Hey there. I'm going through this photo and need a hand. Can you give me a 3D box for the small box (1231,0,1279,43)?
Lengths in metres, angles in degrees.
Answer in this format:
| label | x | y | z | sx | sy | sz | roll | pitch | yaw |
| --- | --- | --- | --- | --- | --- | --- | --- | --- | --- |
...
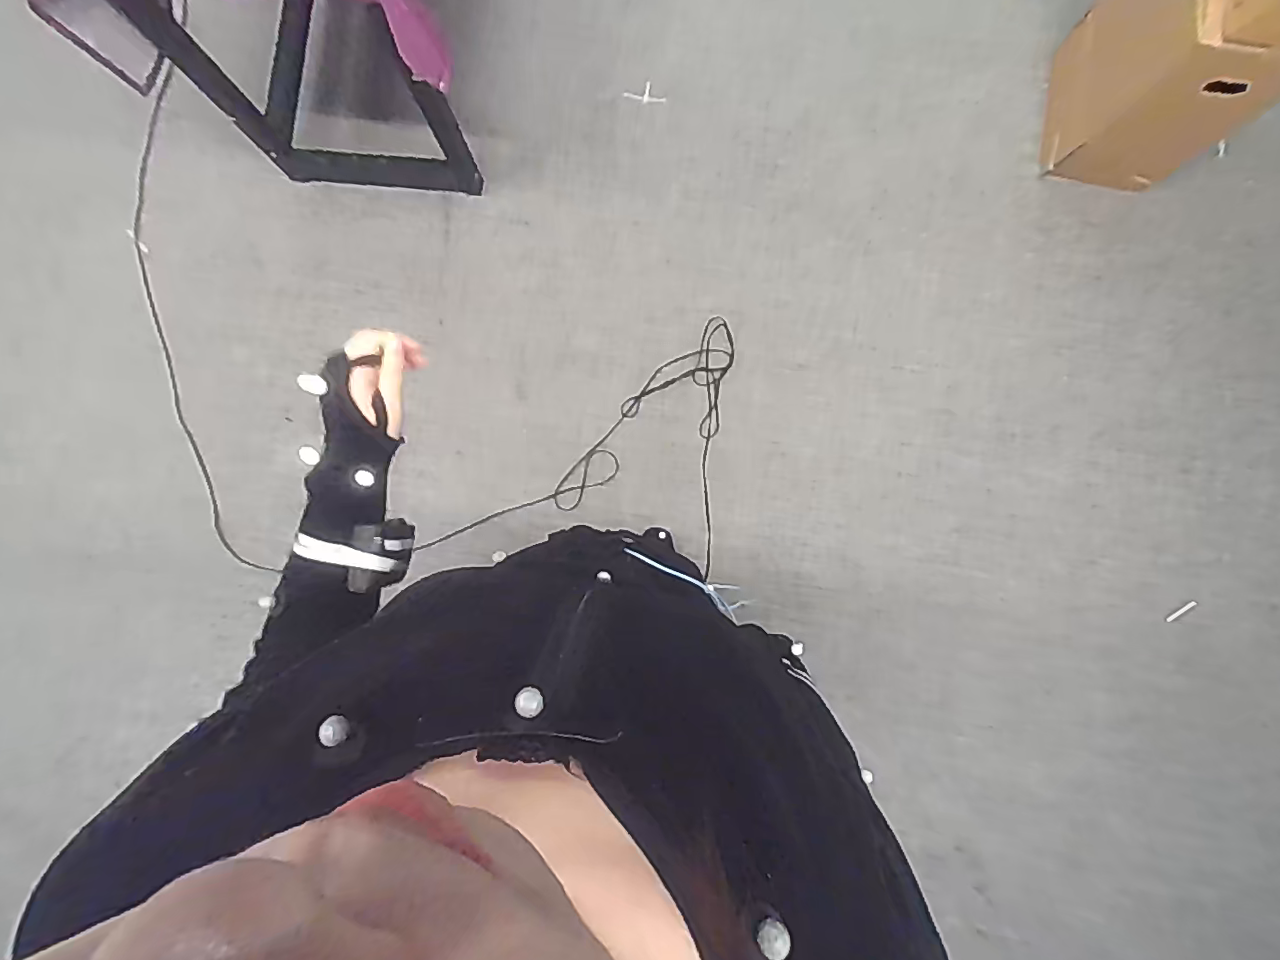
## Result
| label | x | y | z | sx | sy | sz | roll | pitch | yaw |
| --- | --- | --- | --- | --- | --- | --- | --- | --- | --- |
| small box | 1.354 | -1.014 | 1.073 | 0.179 | 0.176 | 0.168 | 8 | 84 | 1 |
